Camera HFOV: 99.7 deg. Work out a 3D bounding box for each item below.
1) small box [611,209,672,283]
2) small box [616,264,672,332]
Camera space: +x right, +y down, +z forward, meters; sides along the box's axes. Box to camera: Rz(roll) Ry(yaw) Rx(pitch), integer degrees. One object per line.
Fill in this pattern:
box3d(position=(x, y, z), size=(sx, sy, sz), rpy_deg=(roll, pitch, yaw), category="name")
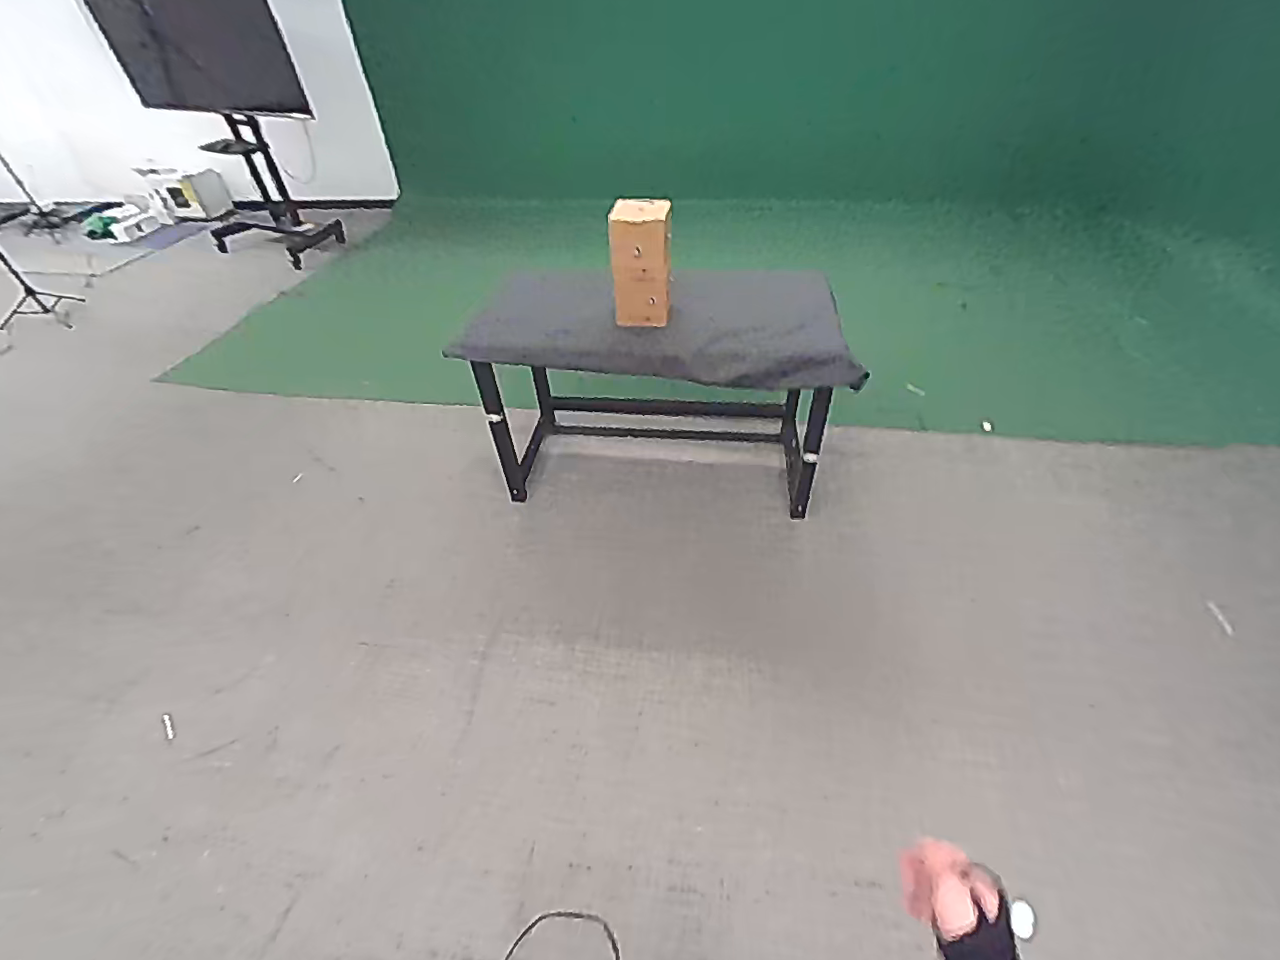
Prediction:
box3d(position=(0.010, -0.726, 1.678), size=(0.168, 0.176, 0.179), rpy_deg=(5, 44, 7), category="small box")
box3d(position=(0.018, -0.601, 1.785), size=(0.168, 0.176, 0.179), rpy_deg=(4, 42, 6), category="small box")
